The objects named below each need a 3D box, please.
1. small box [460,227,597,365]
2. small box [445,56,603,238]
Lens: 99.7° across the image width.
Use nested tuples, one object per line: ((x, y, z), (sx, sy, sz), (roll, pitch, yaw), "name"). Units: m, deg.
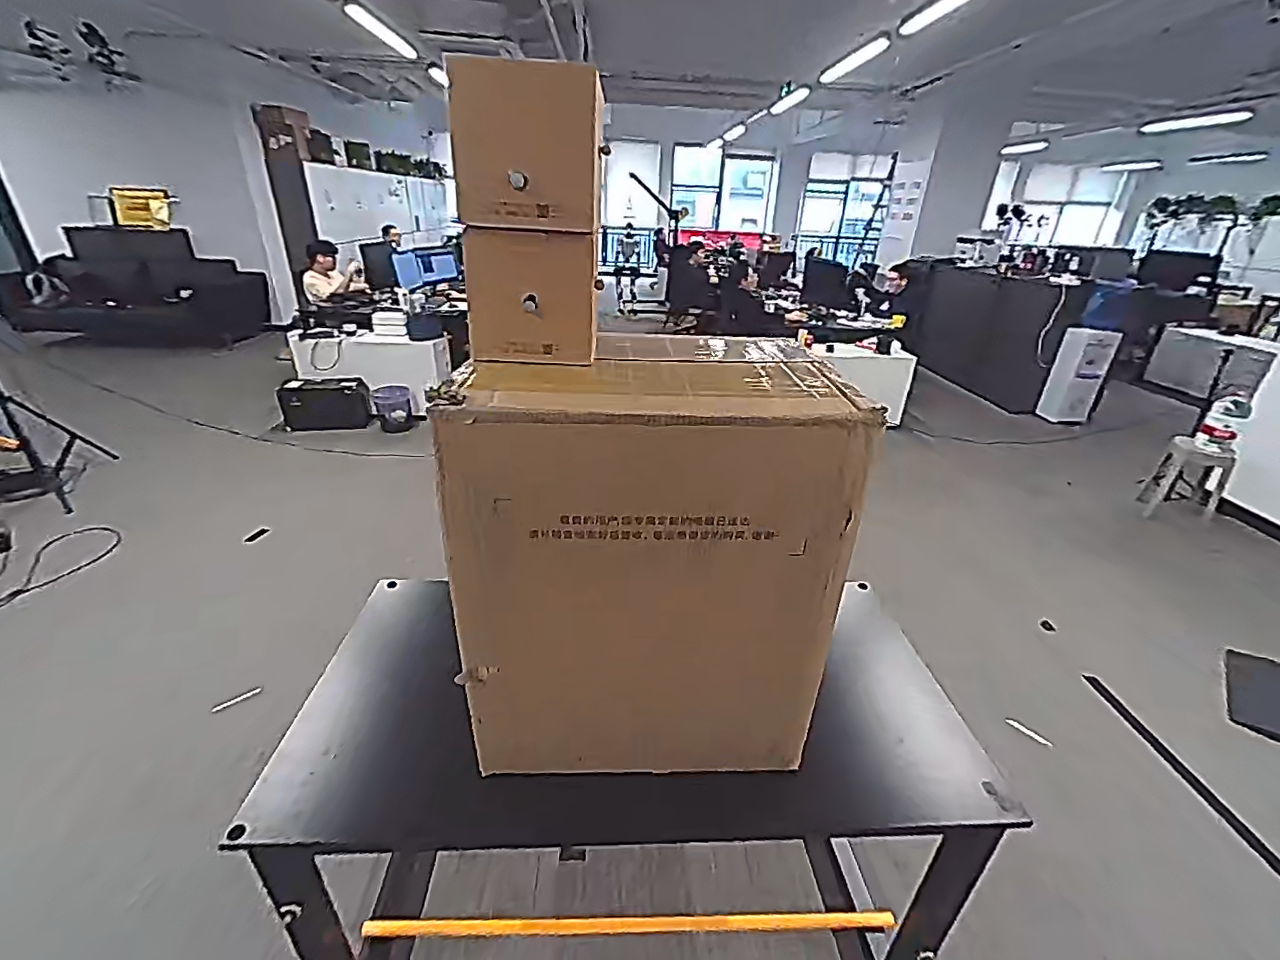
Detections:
((-0.147, -0.267, 0.776), (0.168, 0.176, 0.179), (2, 27, -4), "small box")
((-0.135, -0.408, 0.688), (0.168, 0.176, 0.179), (2, 26, -3), "small box")
